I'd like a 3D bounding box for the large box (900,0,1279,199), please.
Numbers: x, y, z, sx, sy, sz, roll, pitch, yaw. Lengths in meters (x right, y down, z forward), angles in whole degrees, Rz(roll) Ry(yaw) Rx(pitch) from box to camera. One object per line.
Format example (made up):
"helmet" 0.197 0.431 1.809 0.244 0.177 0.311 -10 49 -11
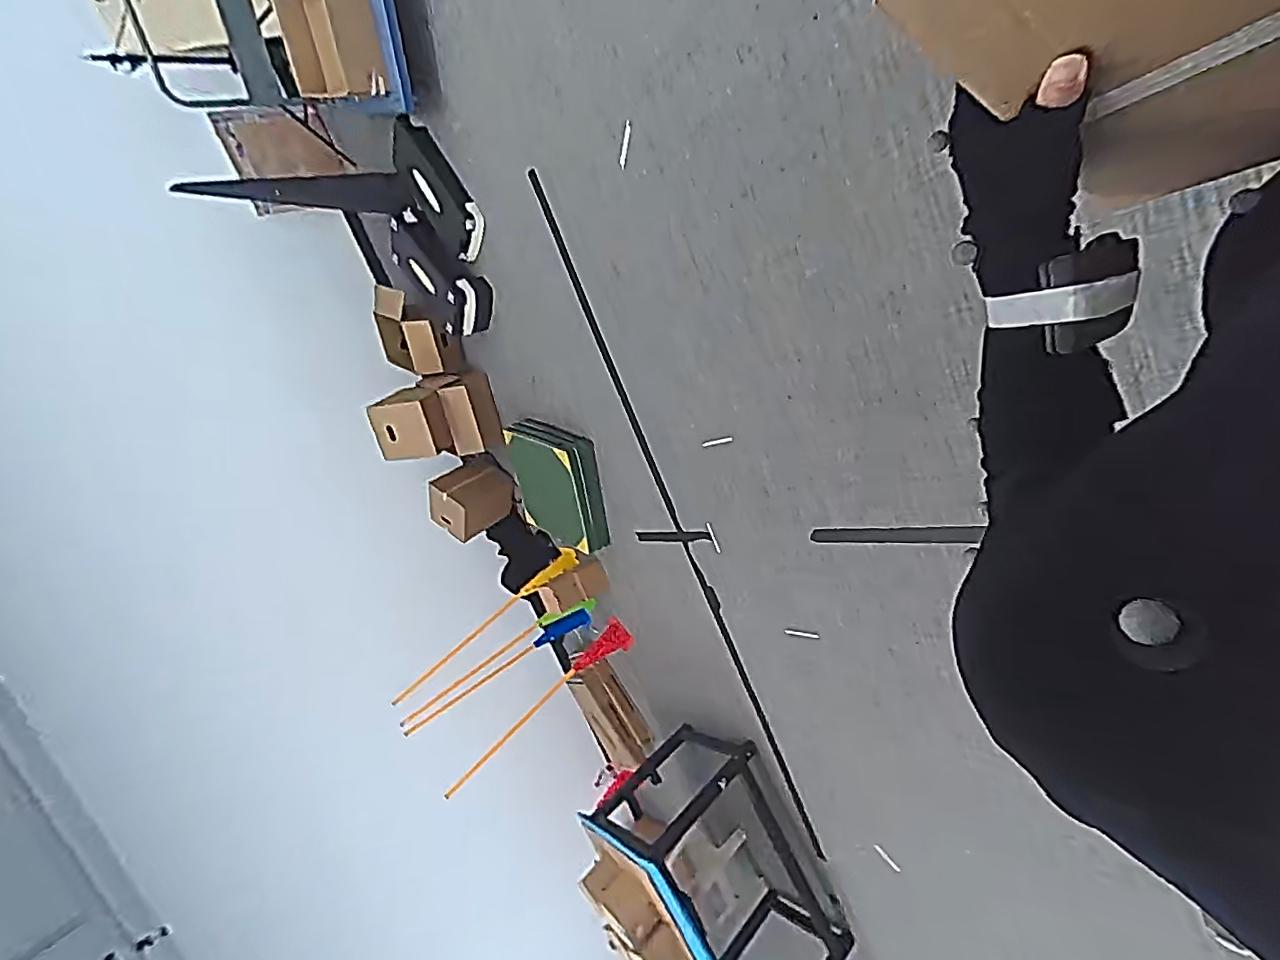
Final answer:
"large box" 0.345 -0.369 0.167 0.408 0.320 0.320 0 89 56
